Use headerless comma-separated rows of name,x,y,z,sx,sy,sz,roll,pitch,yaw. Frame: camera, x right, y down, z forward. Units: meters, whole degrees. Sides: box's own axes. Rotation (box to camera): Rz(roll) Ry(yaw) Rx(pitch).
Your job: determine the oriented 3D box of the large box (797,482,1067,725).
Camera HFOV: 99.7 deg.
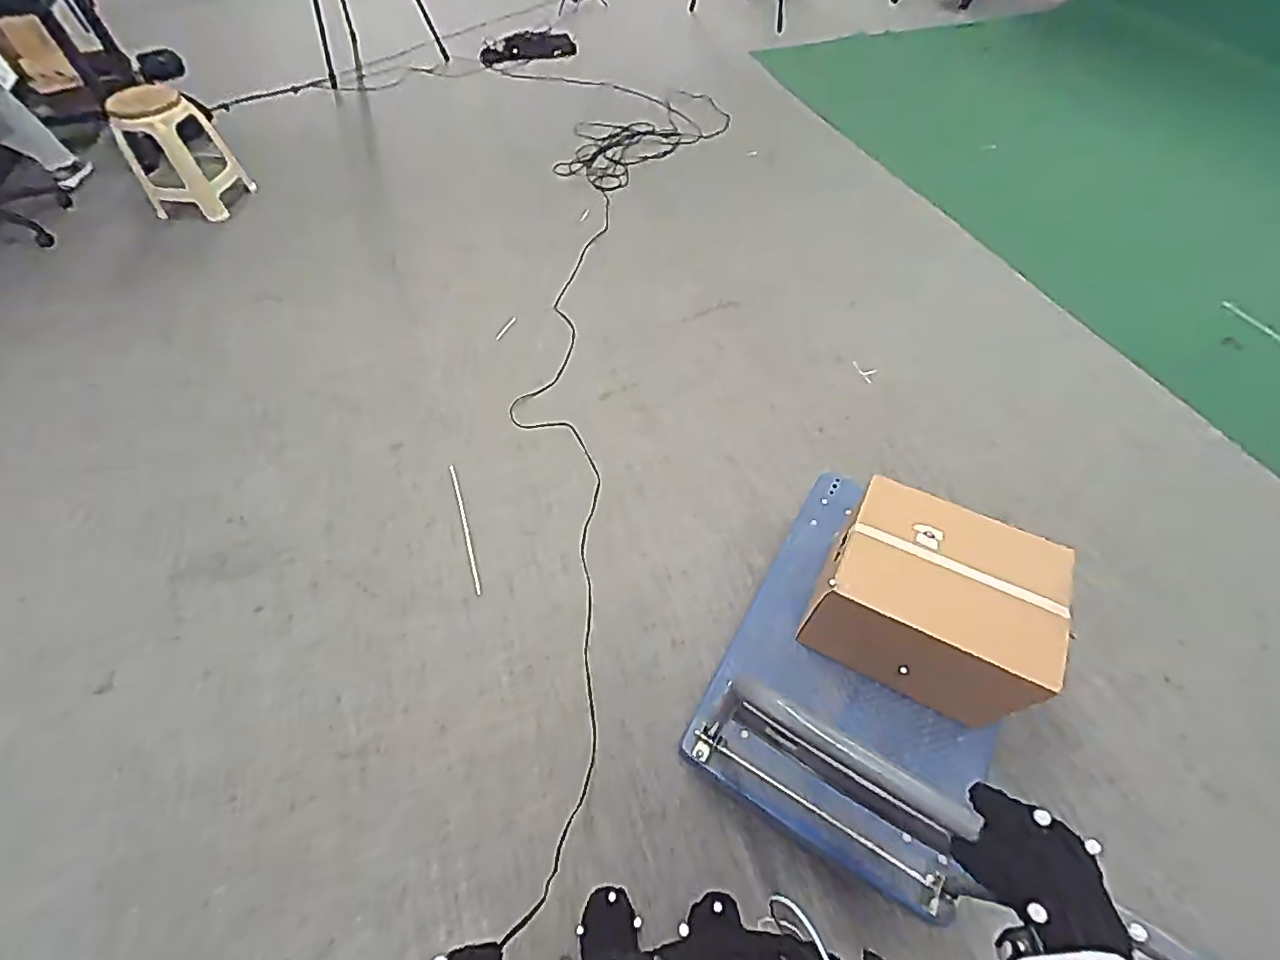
large box,0.607,0.270,1.170,0.408,0.320,0.320,23,58,16
